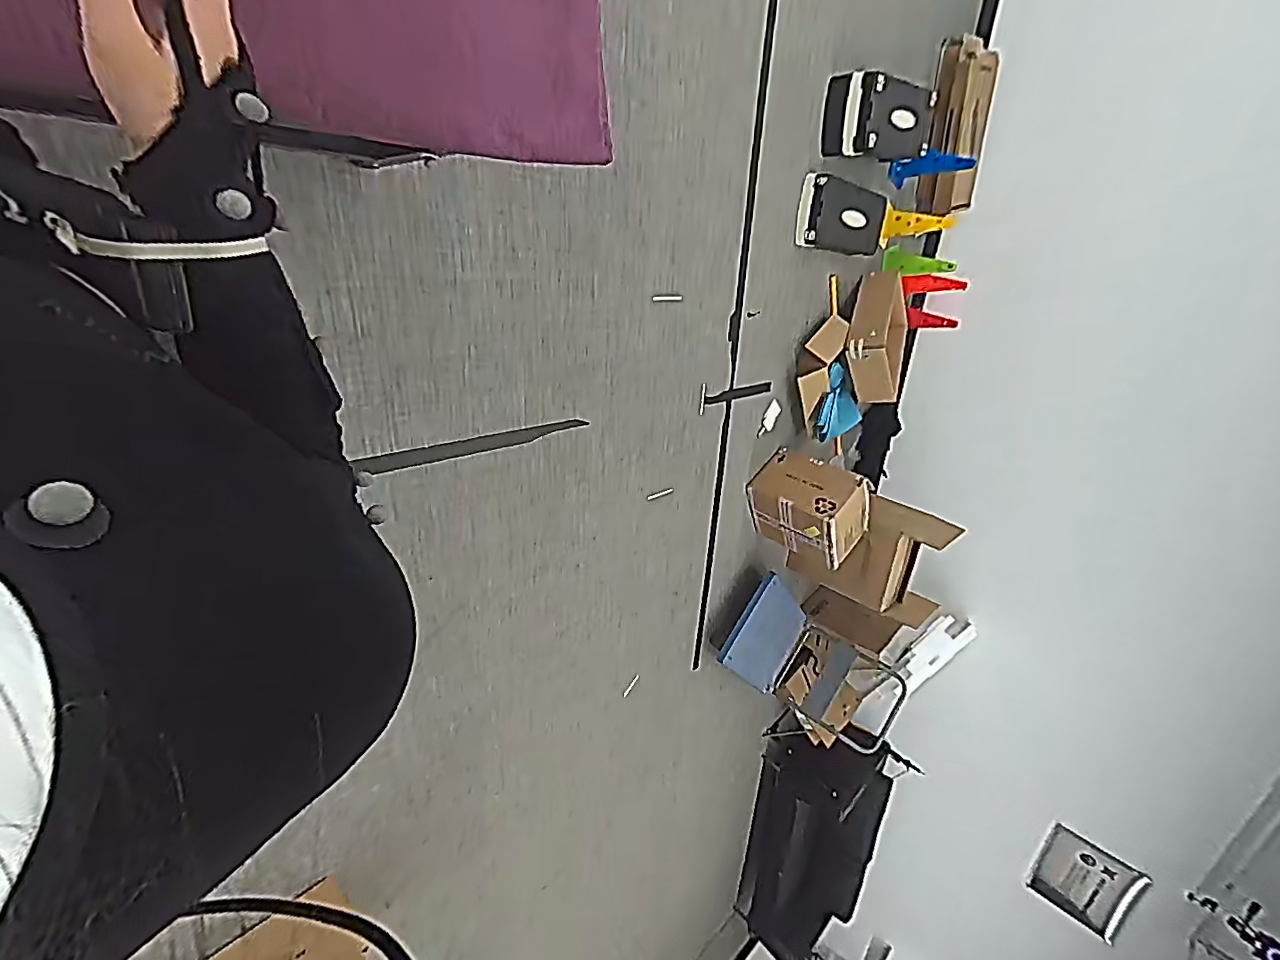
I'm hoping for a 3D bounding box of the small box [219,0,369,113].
[{"bbox_3d":[-0.564,-0.723,0.882,0.168,0.176,0.179,-17,120,-41],"label":"small box"}]
